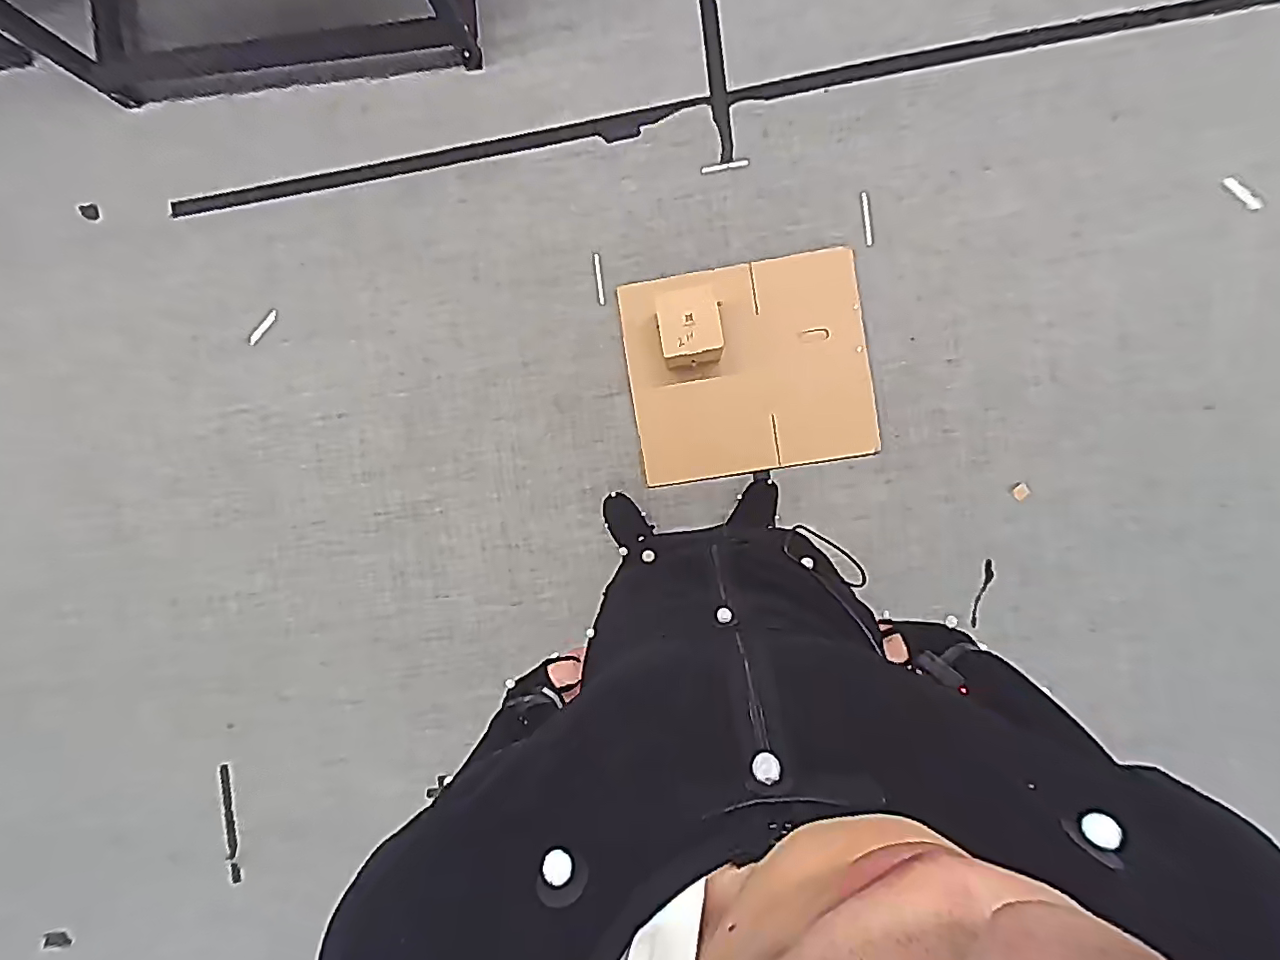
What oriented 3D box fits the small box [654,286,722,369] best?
[{"bbox_3d":[0.133,-0.424,1.525,0.168,0.176,0.179,-9,91,5],"label":"small box"}]
